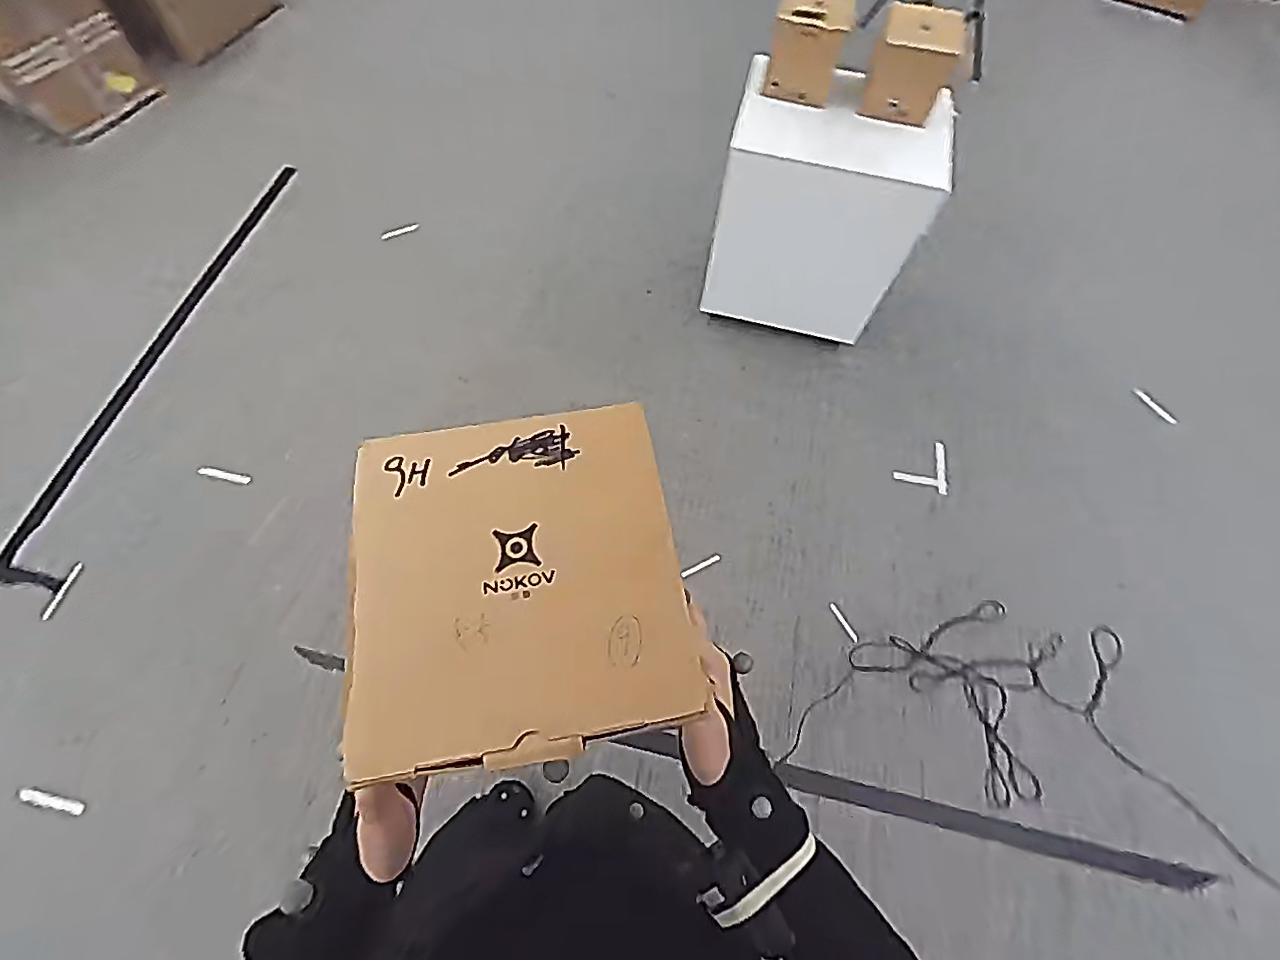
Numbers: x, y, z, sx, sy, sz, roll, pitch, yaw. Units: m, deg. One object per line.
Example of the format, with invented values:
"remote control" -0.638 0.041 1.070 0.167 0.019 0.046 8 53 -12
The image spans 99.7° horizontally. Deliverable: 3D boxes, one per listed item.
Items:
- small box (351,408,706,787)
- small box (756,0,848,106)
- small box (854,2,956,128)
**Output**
"small box" -0.062 0.079 0.350 0.168 0.176 0.179 -8 66 -5
"small box" 0.389 -1.055 1.316 0.168 0.176 0.179 15 66 4
"small box" 0.631 -0.993 1.300 0.168 0.176 0.179 13 67 5
